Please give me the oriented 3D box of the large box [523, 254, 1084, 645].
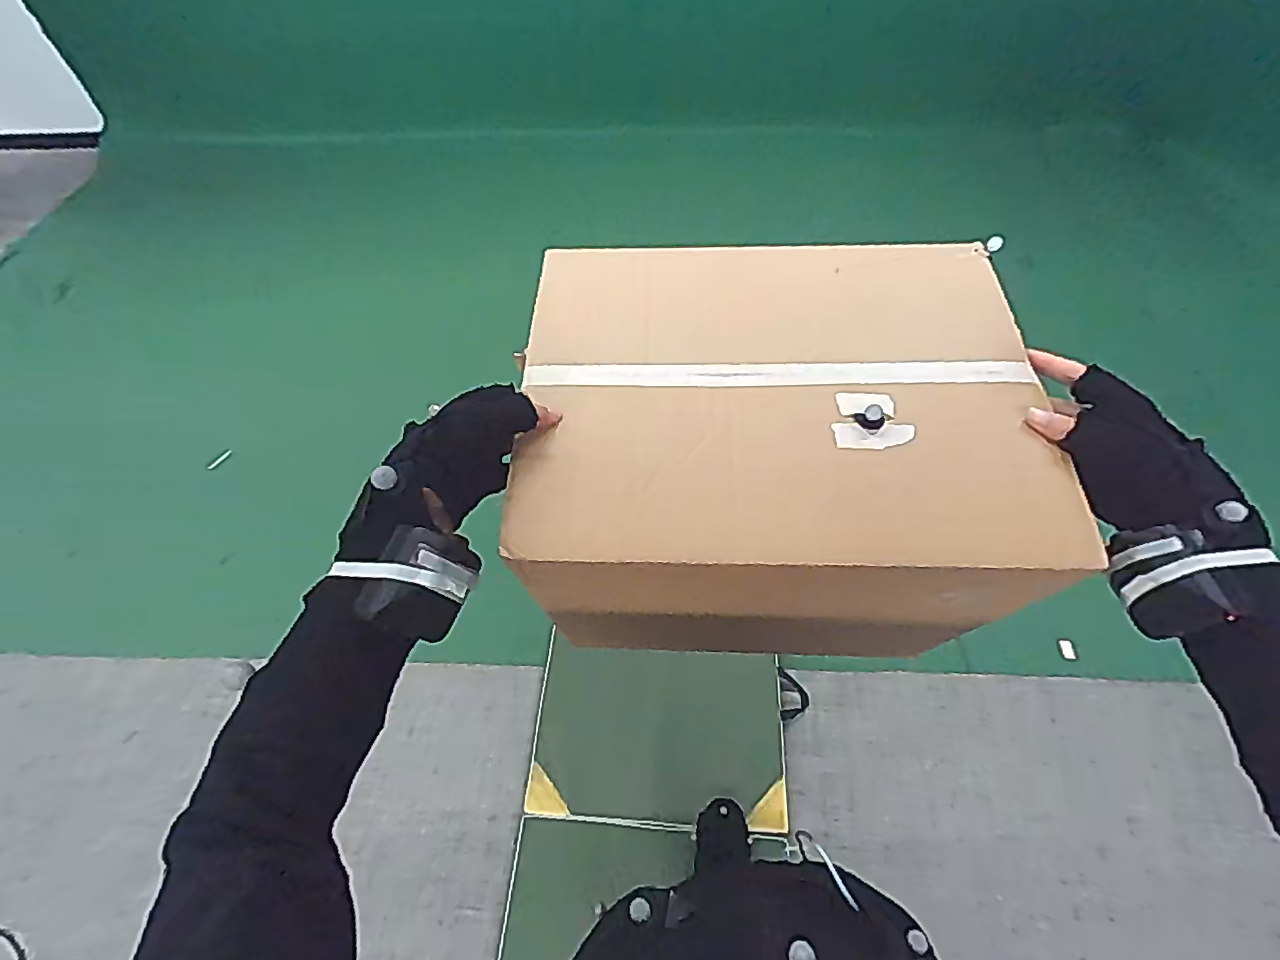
[{"bbox_3d":[0.117,-0.011,0.580,0.408,0.320,0.320,1,62,2],"label":"large box"}]
